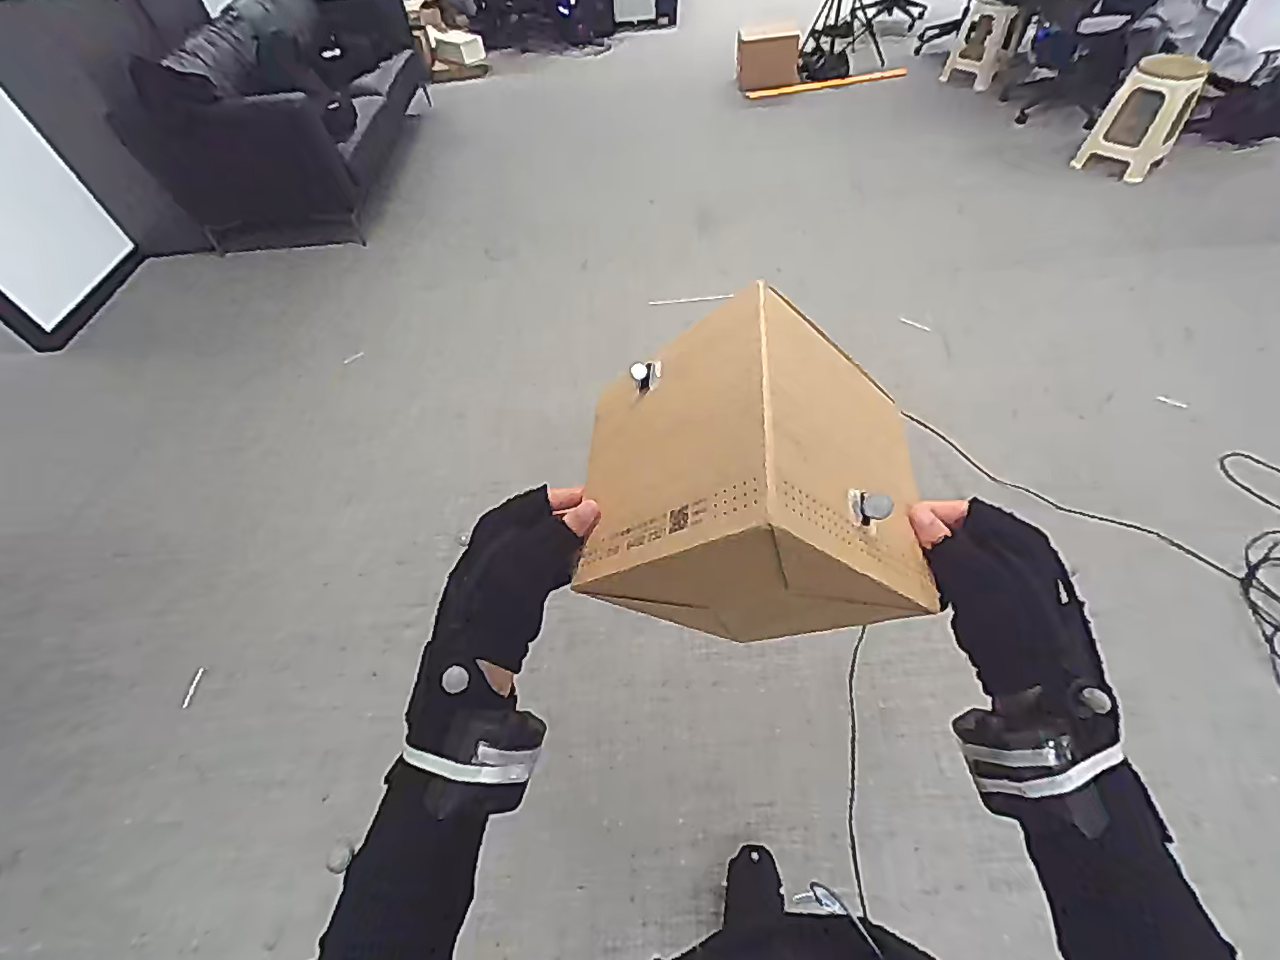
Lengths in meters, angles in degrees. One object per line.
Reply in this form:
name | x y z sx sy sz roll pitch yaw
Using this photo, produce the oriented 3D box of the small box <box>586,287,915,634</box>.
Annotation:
small box | 0.079 0.007 0.397 0.168 0.179 0.176 -26 49 42
